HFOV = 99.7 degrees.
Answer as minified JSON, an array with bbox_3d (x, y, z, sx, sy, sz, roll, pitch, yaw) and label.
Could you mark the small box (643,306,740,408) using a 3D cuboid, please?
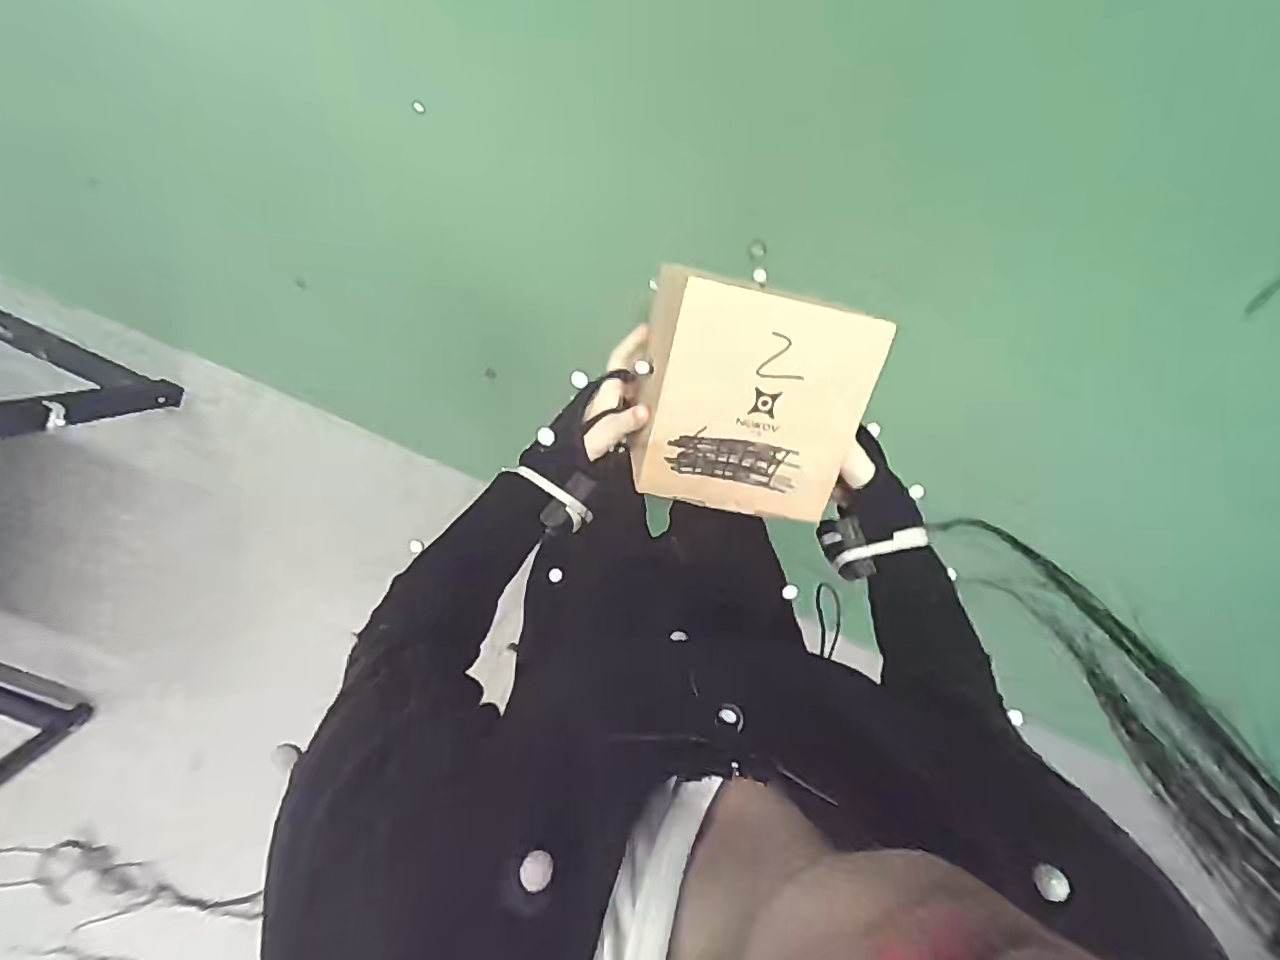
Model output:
[{"bbox_3d":[0.113,-0.298,1.292,0.168,0.176,0.179,27,105,-8],"label":"small box"}]
